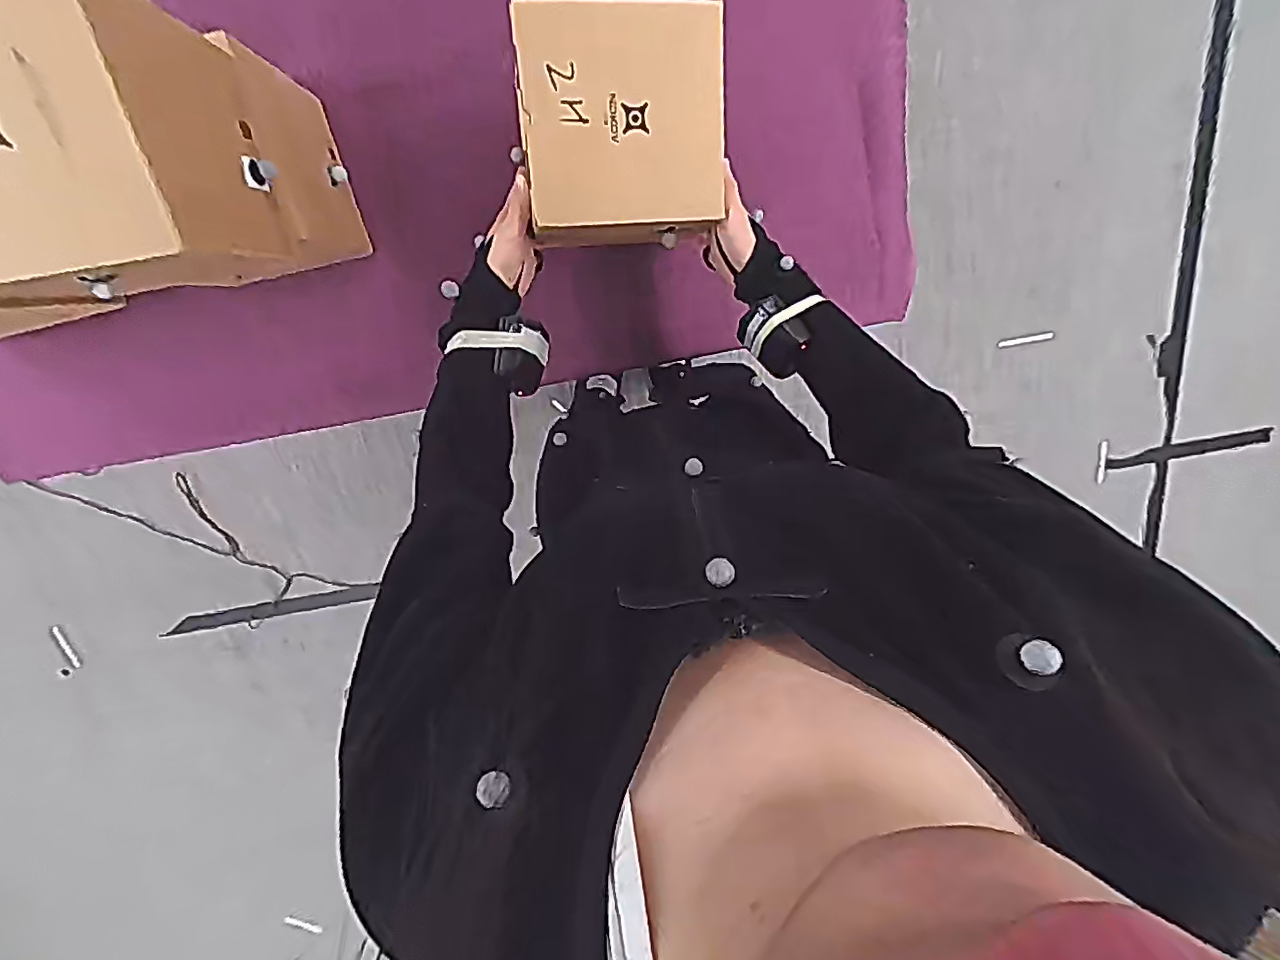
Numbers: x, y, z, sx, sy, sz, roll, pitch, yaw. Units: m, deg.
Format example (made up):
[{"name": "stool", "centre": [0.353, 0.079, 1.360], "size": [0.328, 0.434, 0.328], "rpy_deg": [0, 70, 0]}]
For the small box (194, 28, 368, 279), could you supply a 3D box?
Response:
[{"name": "small box", "centre": [-0.415, -0.306, 0.547], "size": [0.179, 0.176, 0.168], "rpy_deg": [-13, 110, -1]}]

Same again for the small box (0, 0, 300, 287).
[{"name": "small box", "centre": [-0.401, -0.240, 0.399], "size": [0.179, 0.176, 0.168], "rpy_deg": [-11, 111, -2]}]

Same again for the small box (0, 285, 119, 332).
[{"name": "small box", "centre": [-0.704, -0.244, 0.545], "size": [0.168, 0.176, 0.179], "rpy_deg": [-14, 109, 0]}]

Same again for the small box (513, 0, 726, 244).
[{"name": "small box", "centre": [-0.024, -0.331, 0.531], "size": [0.179, 0.176, 0.168], "rpy_deg": [-5, 109, -7]}]
